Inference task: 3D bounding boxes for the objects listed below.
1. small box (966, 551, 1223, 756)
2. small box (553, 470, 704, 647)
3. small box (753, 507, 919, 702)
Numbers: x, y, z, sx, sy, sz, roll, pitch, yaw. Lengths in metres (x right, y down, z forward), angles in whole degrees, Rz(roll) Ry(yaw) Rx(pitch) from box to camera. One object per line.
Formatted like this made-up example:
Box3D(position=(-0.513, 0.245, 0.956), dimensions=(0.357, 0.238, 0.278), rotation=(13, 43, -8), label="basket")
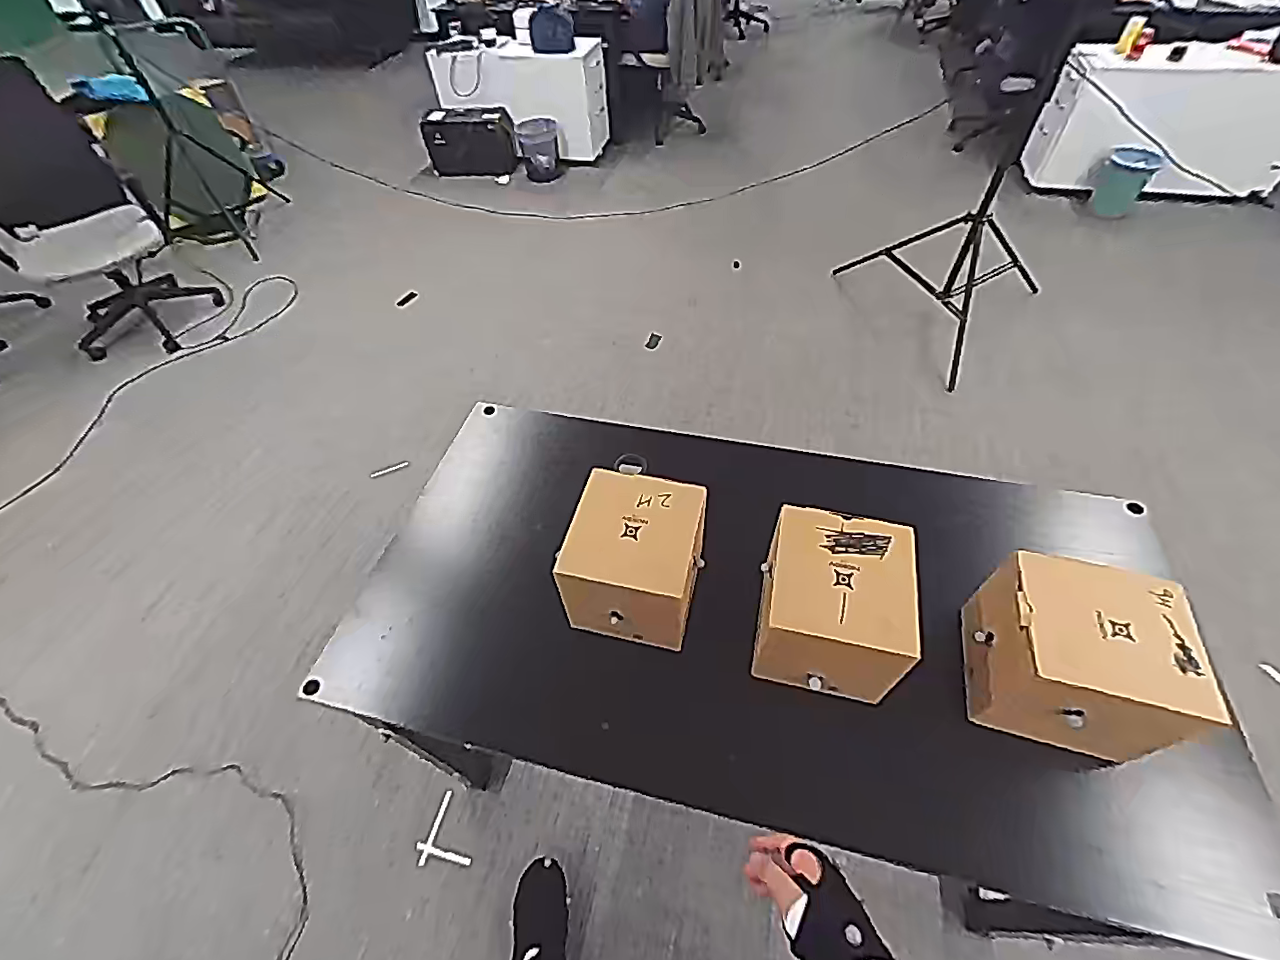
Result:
Box3D(position=(0.520, 0.213, 0.659), dimensions=(0.179, 0.176, 0.168), rotation=(11, 52, 13), label="small box")
Box3D(position=(-0.006, 0.115, 0.769), dimensions=(0.168, 0.176, 0.179), rotation=(10, 52, 10), label="small box")
Box3D(position=(0.248, 0.165, 0.714), dimensions=(0.168, 0.176, 0.179), rotation=(10, 53, 11), label="small box")
